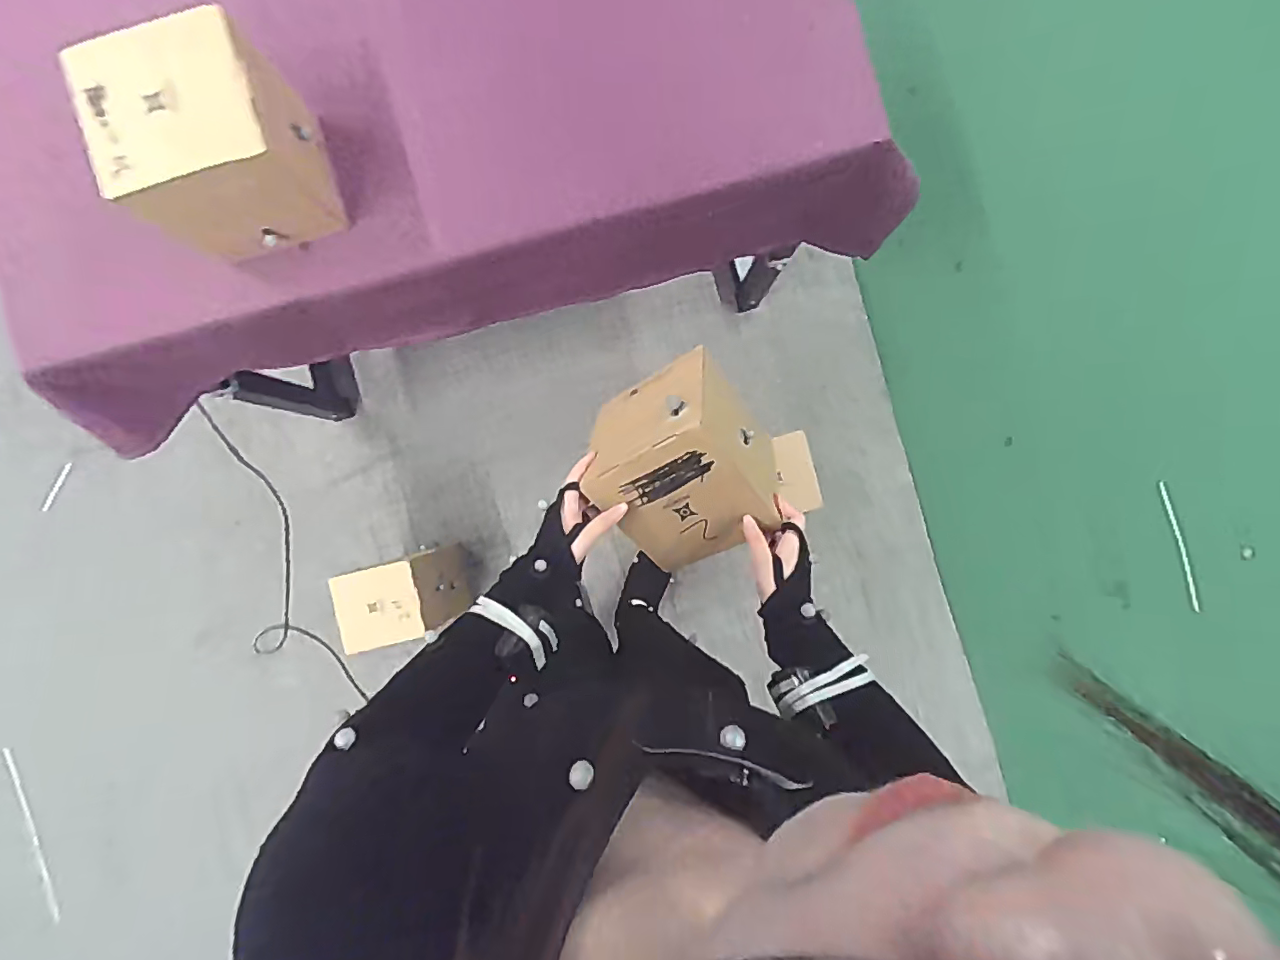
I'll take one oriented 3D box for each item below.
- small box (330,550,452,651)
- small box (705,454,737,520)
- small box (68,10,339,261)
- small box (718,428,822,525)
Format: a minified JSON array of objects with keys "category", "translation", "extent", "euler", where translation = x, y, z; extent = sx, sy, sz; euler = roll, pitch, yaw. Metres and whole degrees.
[{"category":"small box","translation":[-0.544,0.260,1.201],"extent":[0.179,0.176,0.168],"euler":[-13,90,-2]},{"category":"small box","translation":[0.273,-0.003,1.382],"extent":[0.179,0.176,0.168],"euler":[-17,90,-2]},{"category":"small box","translation":[-0.491,-0.390,0.643],"extent":[0.179,0.176,0.168],"euler":[-17,89,-2]},{"category":"small box","translation":[0.285,-0.008,1.220],"extent":[0.168,0.176,0.179],"euler":[-15,89,-3]}]
